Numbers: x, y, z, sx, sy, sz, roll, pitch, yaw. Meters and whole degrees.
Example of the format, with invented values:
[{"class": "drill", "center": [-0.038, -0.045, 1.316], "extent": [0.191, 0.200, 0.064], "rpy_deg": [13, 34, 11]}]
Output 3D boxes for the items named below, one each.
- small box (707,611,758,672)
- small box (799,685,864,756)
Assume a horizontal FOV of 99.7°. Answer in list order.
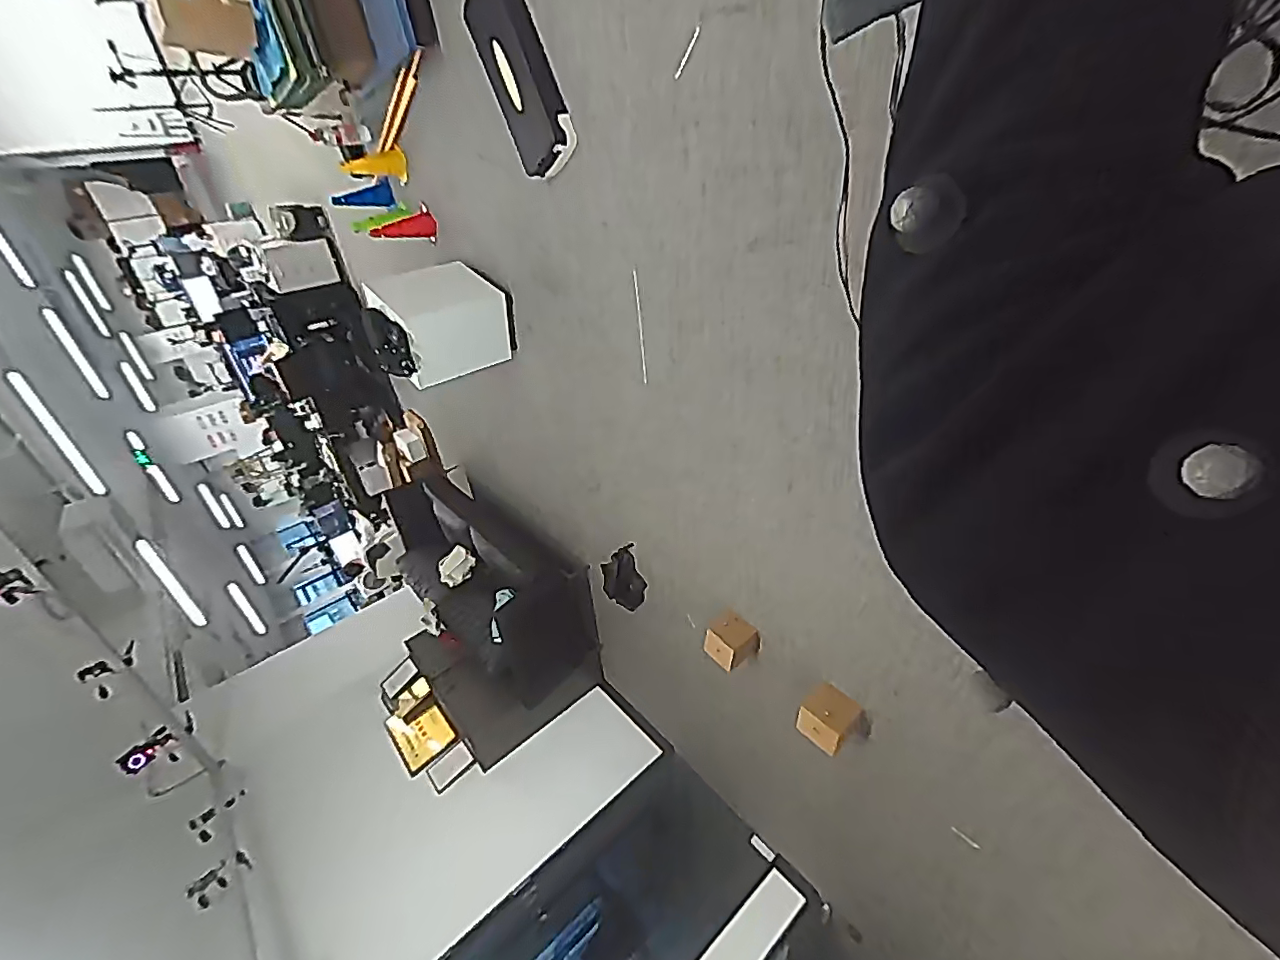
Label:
[{"class": "small box", "center": [0.433, 0.748, 2.523], "extent": [0.168, 0.176, 0.179], "rpy_deg": [36, 142, 38]}, {"class": "small box", "center": [0.773, 0.963, 2.188], "extent": [0.179, 0.176, 0.168], "rpy_deg": [31, 138, 40]}]
